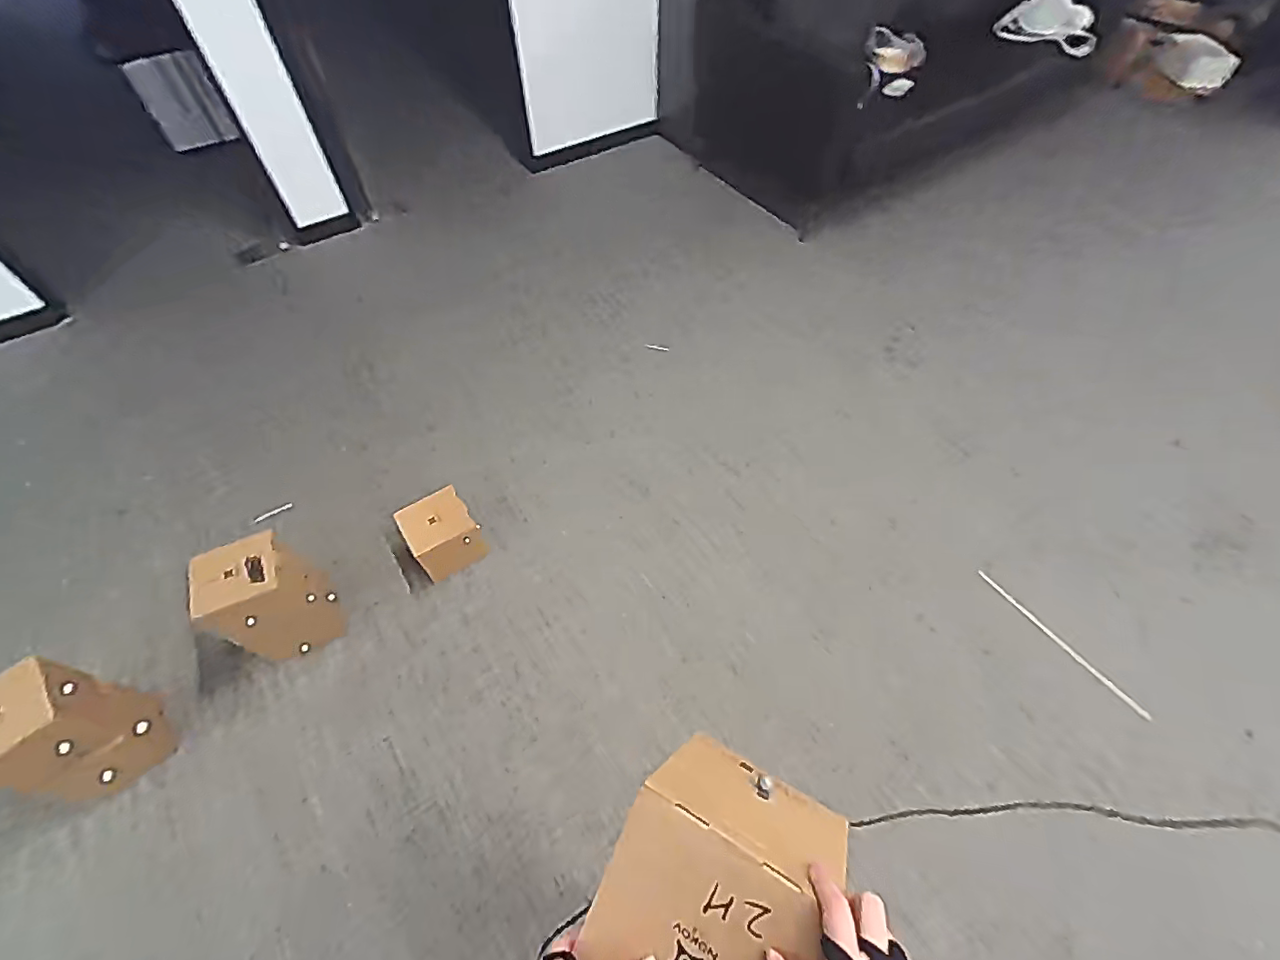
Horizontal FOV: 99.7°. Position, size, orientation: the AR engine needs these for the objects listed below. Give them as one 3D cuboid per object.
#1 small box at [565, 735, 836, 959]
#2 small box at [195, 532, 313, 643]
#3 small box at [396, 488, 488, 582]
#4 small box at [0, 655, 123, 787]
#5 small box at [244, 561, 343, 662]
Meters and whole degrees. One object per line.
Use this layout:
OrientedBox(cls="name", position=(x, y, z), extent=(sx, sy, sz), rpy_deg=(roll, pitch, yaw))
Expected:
OrientedBox(cls="small box", position=(0.066, 0.364, 0.480), extent=(0.168, 0.176, 0.179), rpy_deg=(22, 88, 23))
OrientedBox(cls="small box", position=(-0.901, 0.257, 1.276), extent=(0.179, 0.176, 0.168), rpy_deg=(-22, 57, -13))
OrientedBox(cls="small box", position=(-0.559, 0.161, 1.546), extent=(0.179, 0.176, 0.168), rpy_deg=(-29, 60, -20))
OrientedBox(cls="small box", position=(-1.225, 0.499, 1.108), extent=(0.168, 0.176, 0.179), rpy_deg=(-38, 62, -24))
OrientedBox(cls="small box", position=(-0.903, 0.347, 1.414), extent=(0.179, 0.176, 0.168), rpy_deg=(-22, 57, -15))
